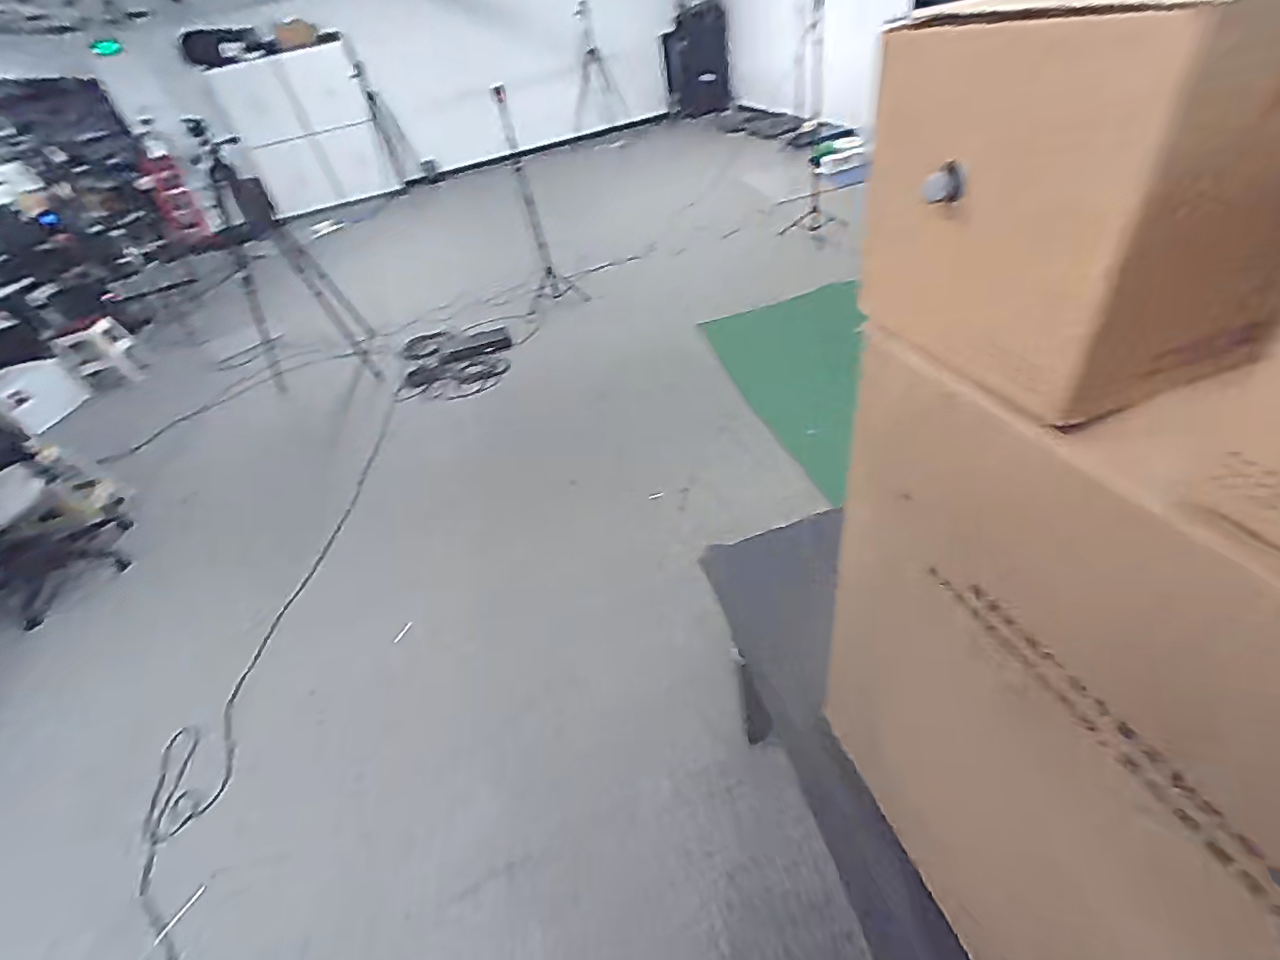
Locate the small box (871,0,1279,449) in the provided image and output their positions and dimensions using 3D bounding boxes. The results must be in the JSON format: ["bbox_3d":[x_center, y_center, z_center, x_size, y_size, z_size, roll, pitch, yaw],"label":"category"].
[{"bbox_3d":[0.250,-0.144,0.294,0.168,0.176,0.179,-18,40,-6],"label":"small box"}]
